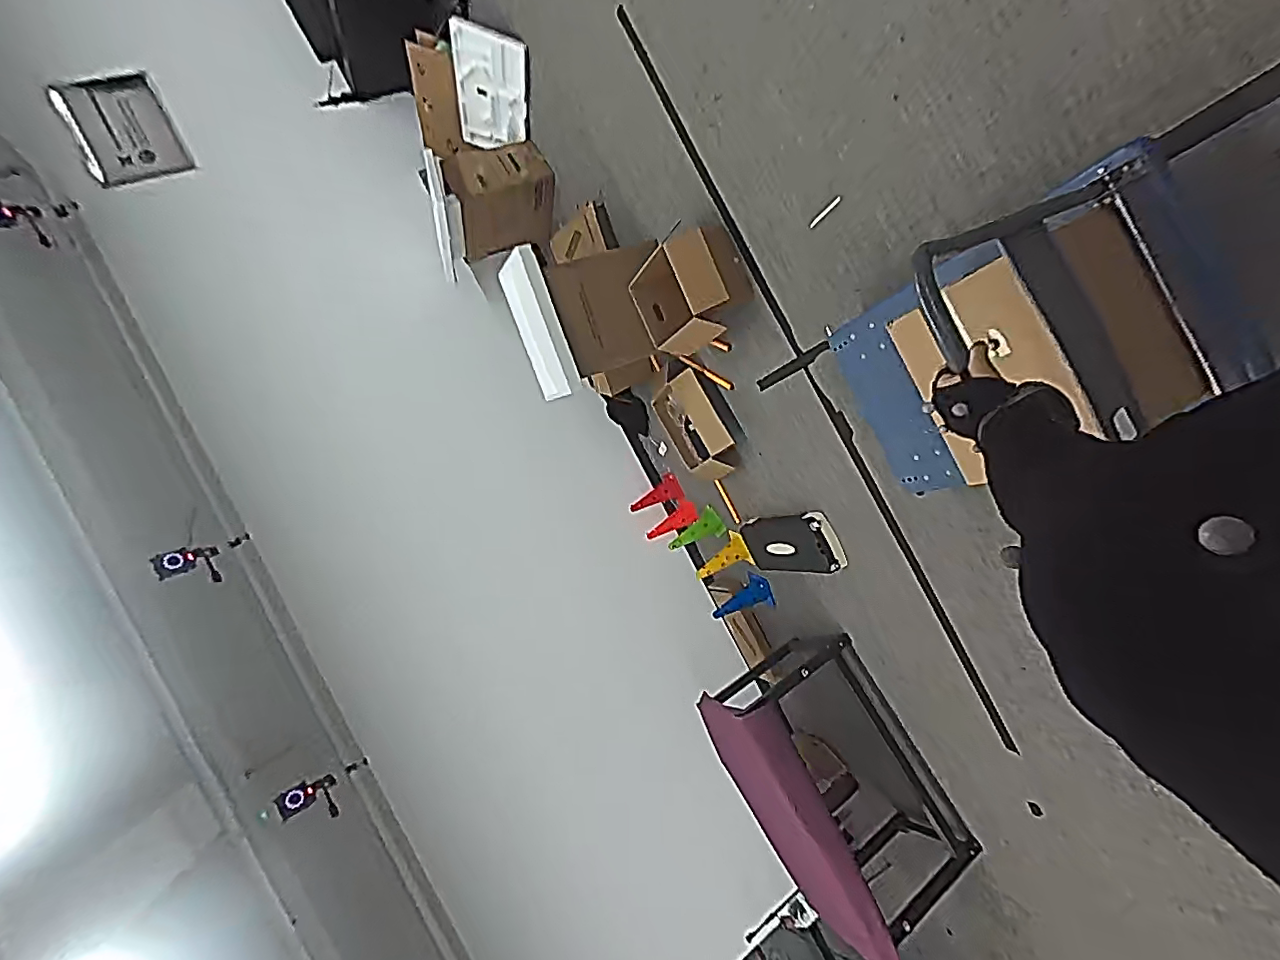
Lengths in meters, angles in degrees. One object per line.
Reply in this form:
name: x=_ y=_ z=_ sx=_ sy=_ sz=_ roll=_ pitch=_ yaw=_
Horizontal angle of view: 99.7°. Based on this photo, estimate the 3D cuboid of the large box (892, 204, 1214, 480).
large box: x=0.818 y=-0.261 z=1.102 sx=0.408 sy=0.320 sz=0.320 roll=64 pitch=159 yaw=1
